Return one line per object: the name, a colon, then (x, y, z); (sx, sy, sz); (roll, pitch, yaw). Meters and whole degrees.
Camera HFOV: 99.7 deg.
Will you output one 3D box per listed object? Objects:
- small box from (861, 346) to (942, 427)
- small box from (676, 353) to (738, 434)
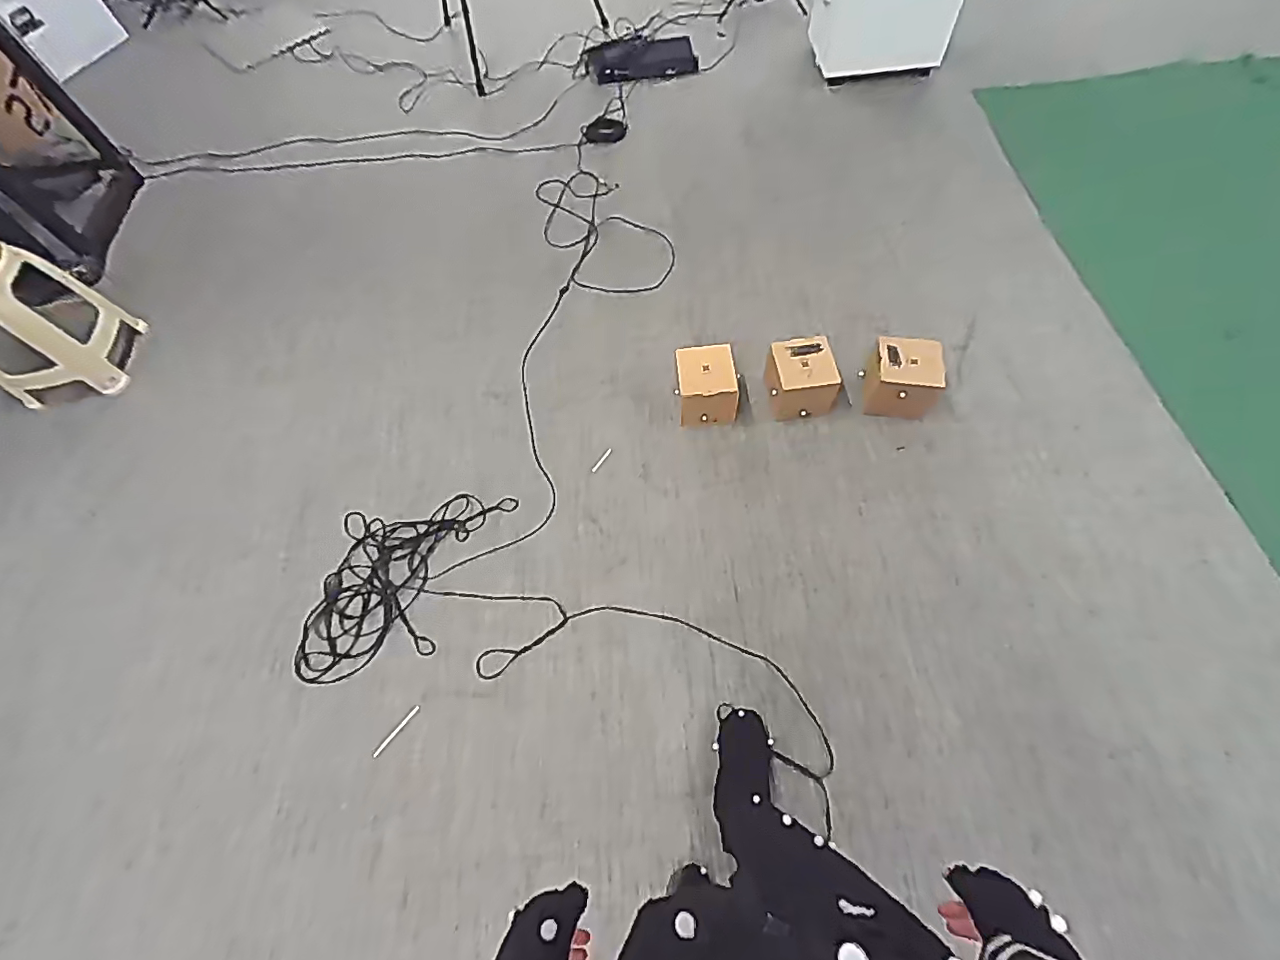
small box: (0.766, -0.273, 1.607); (0.179, 0.176, 0.168); (8, 63, 7)
small box: (0.197, -0.261, 1.648); (0.168, 0.176, 0.179); (-6, 62, 2)
